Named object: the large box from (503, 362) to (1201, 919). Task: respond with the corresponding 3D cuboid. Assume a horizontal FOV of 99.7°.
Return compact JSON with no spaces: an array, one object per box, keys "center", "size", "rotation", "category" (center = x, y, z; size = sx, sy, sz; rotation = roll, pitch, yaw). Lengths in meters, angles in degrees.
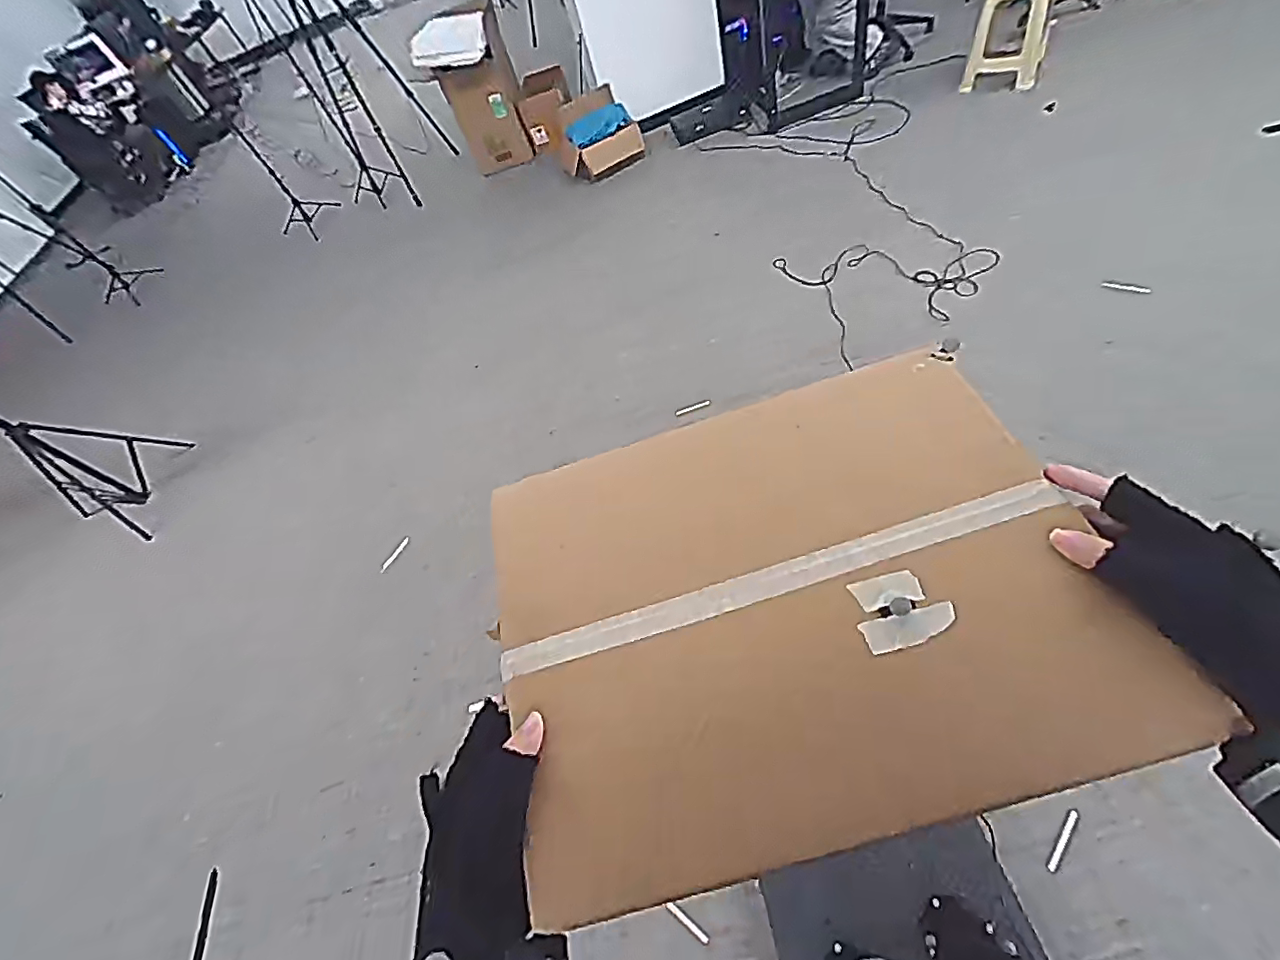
[{"center":[0.129,0.157,0.519],"size":[0.408,0.320,0.320],"rotation":[-18,56,3],"category":"large box"}]
